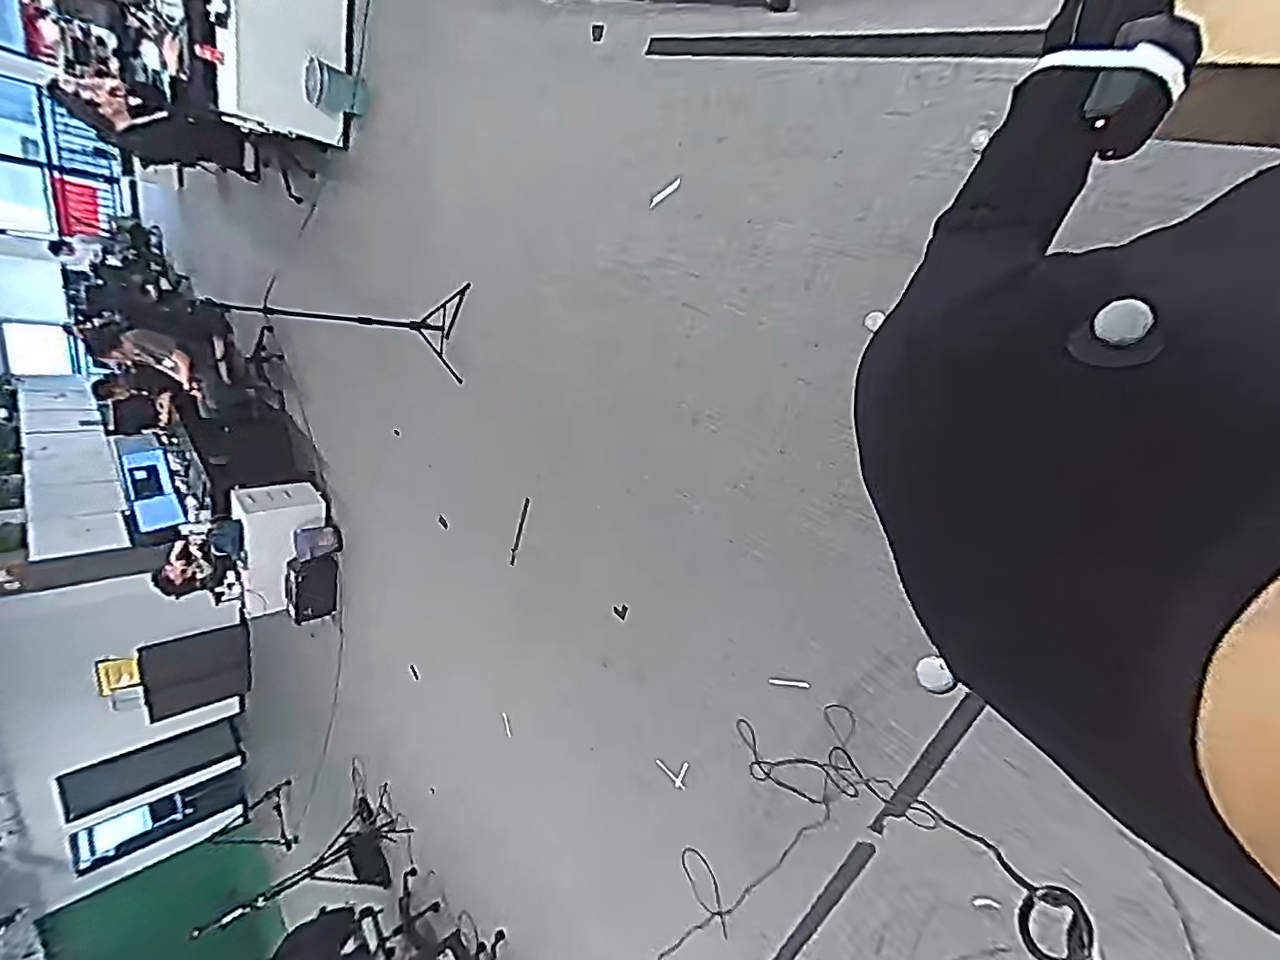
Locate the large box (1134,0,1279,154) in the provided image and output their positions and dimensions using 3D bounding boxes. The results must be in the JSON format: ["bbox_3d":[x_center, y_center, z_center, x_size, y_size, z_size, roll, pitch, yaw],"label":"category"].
[{"bbox_3d":[0.632,-0.394,0.331,0.408,0.320,0.320,27,123,30],"label":"large box"}]
